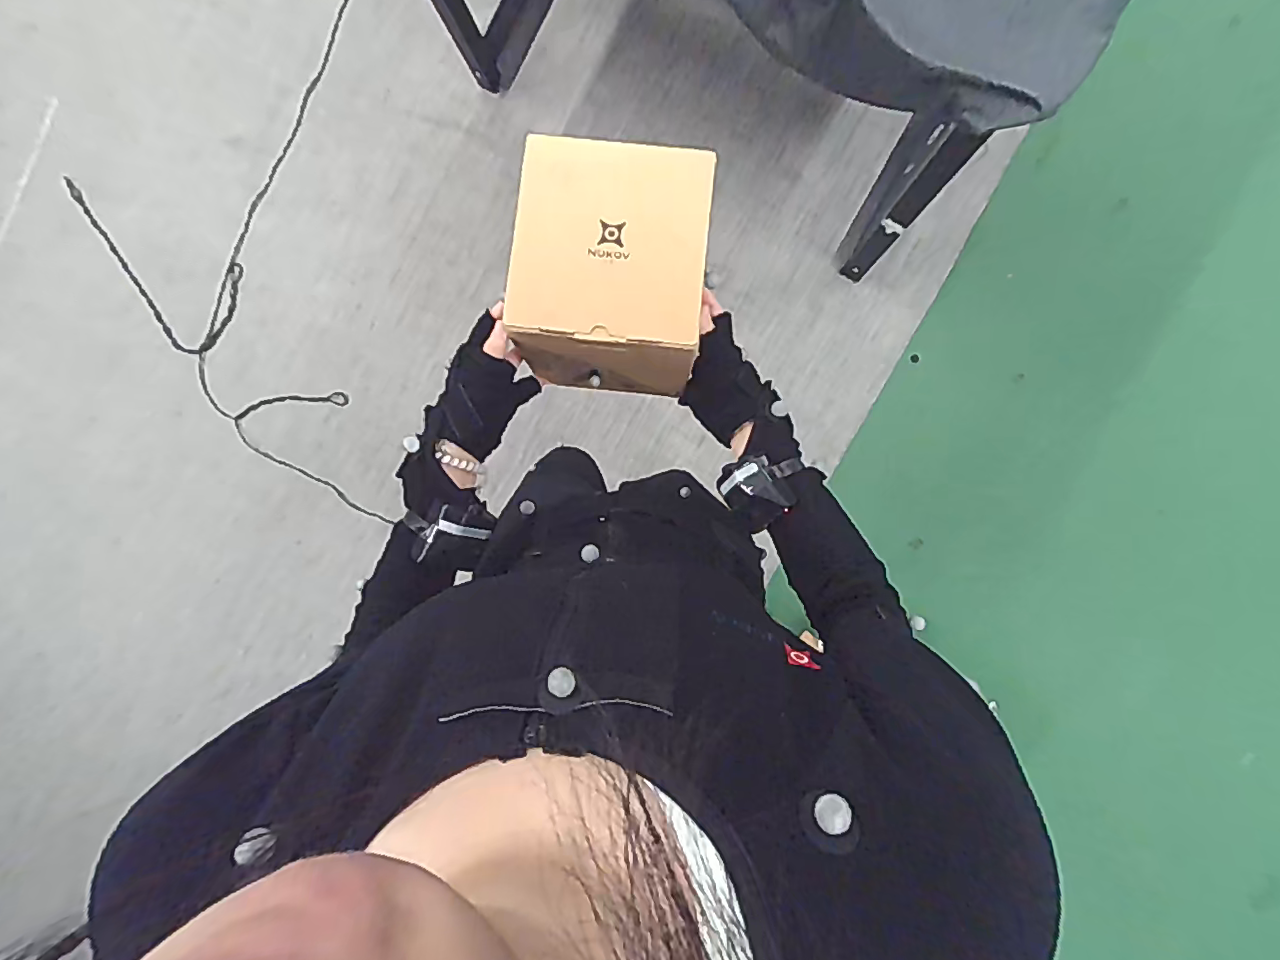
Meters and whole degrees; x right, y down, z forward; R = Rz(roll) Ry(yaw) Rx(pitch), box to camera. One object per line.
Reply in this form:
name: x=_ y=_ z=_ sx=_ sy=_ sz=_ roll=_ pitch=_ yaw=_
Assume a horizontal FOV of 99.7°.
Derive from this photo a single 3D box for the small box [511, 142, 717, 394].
small box: x=-0.023 y=-0.200 z=0.552 sx=0.168 sy=0.176 sz=0.179 roll=6 pitch=86 yaw=0
